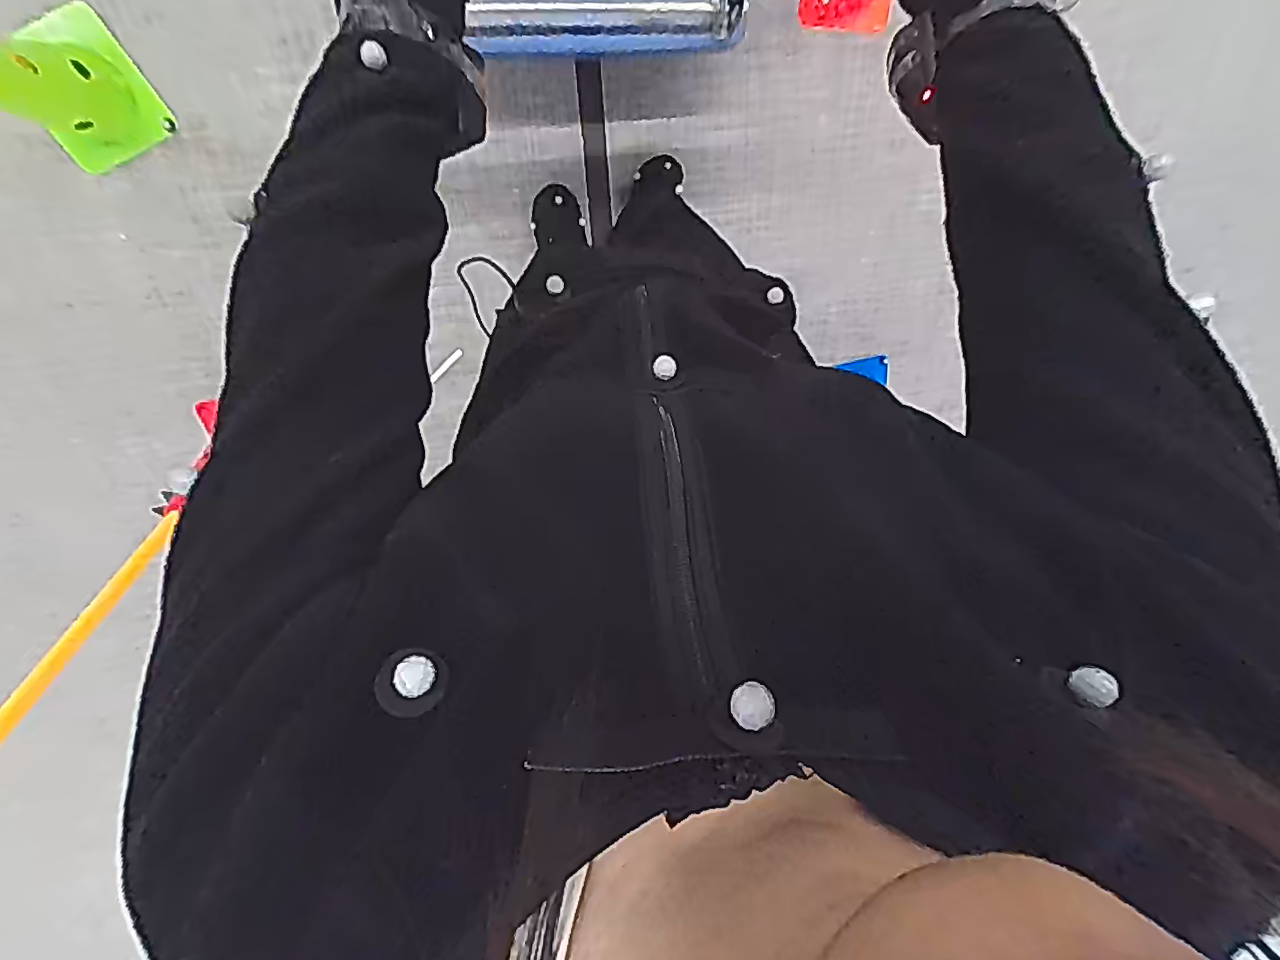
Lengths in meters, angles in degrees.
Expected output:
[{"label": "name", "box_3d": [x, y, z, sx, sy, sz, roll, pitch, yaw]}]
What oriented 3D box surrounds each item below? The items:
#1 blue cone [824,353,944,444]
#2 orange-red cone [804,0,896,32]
[{"label": "blue cone", "box_3d": [0.645, -0.177, 1.399, 0.193, 0.380, 0.192, -13, 120, -6]}, {"label": "orange-red cone", "box_3d": [0.462, -0.926, 0.914, 0.199, 0.360, 0.198, -4, 120, -12]}]
